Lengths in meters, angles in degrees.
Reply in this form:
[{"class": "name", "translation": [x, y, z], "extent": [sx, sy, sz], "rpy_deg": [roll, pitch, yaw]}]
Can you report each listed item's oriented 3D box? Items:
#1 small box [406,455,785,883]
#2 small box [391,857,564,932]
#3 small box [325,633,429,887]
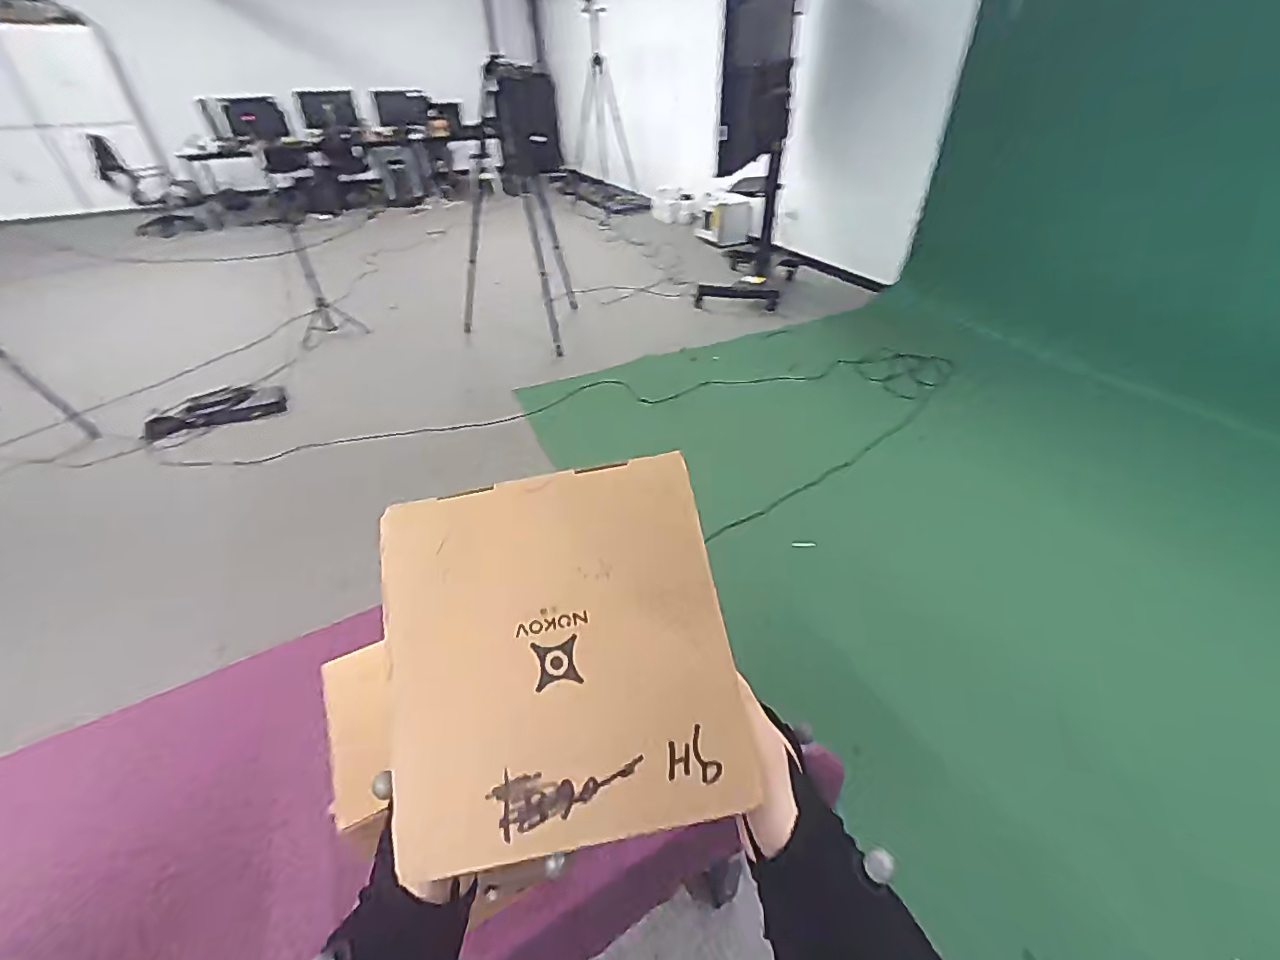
[{"class": "small box", "translation": [-0.028, 0.106, 0.337], "extent": [0.168, 0.176, 0.179], "rpy_deg": [-11, 72, -1]}, {"class": "small box", "translation": [-0.203, 0.405, 0.660], "extent": [0.168, 0.176, 0.179], "rpy_deg": [-20, 42, -22]}, {"class": "small box", "translation": [-0.205, 0.272, 0.566], "extent": [0.168, 0.176, 0.179], "rpy_deg": [-20, 43, -22]}]
